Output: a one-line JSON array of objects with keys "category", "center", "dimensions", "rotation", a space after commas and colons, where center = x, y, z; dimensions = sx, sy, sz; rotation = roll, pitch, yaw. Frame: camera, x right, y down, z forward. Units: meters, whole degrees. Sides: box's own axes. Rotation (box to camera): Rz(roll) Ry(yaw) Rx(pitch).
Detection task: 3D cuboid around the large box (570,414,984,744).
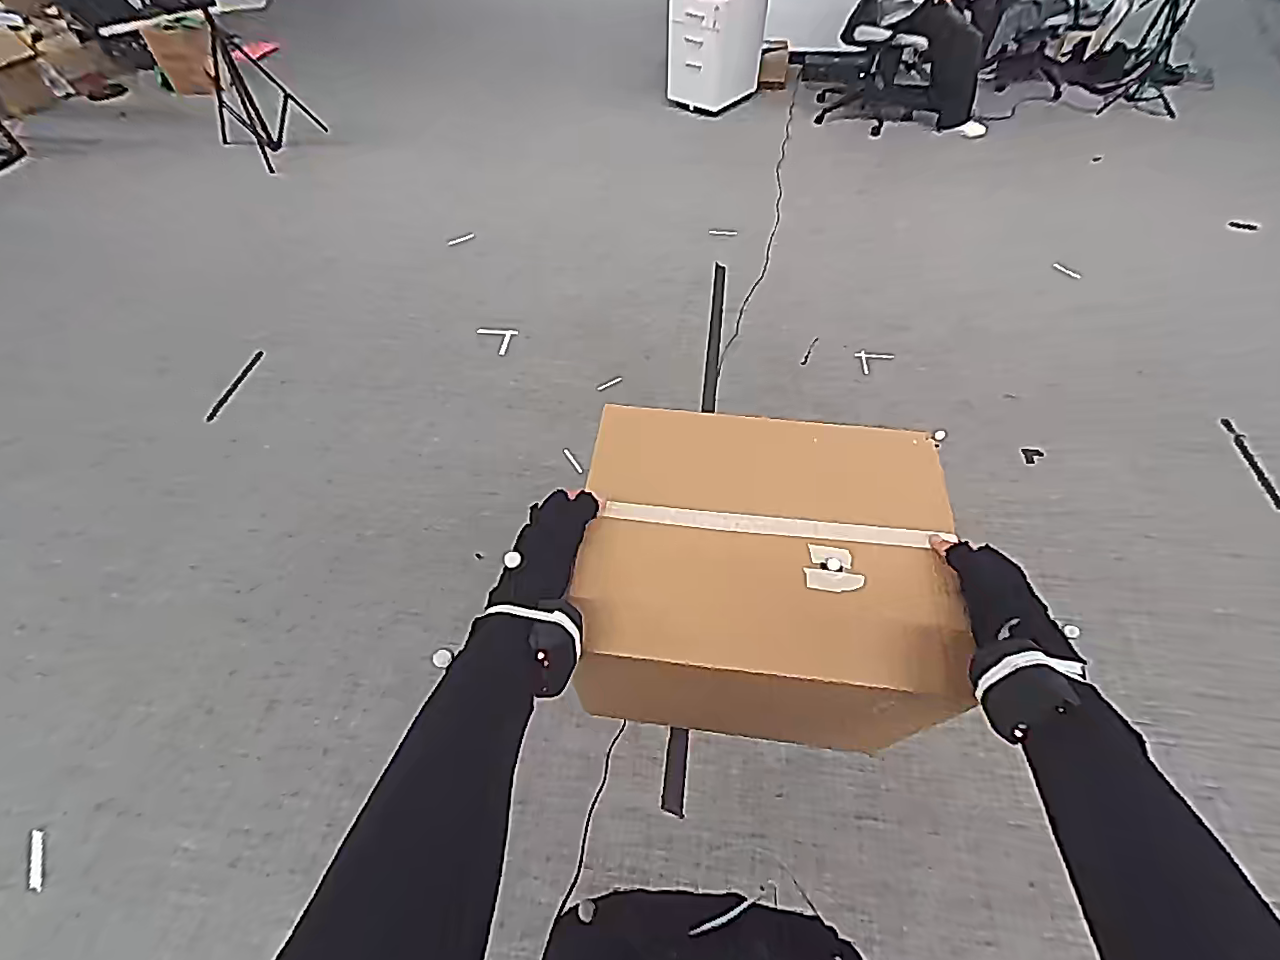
[{"category": "large box", "center": [0.143, 0.140, 0.722], "dimensions": [0.408, 0.320, 0.320], "rotation": [6, 57, 5]}]
